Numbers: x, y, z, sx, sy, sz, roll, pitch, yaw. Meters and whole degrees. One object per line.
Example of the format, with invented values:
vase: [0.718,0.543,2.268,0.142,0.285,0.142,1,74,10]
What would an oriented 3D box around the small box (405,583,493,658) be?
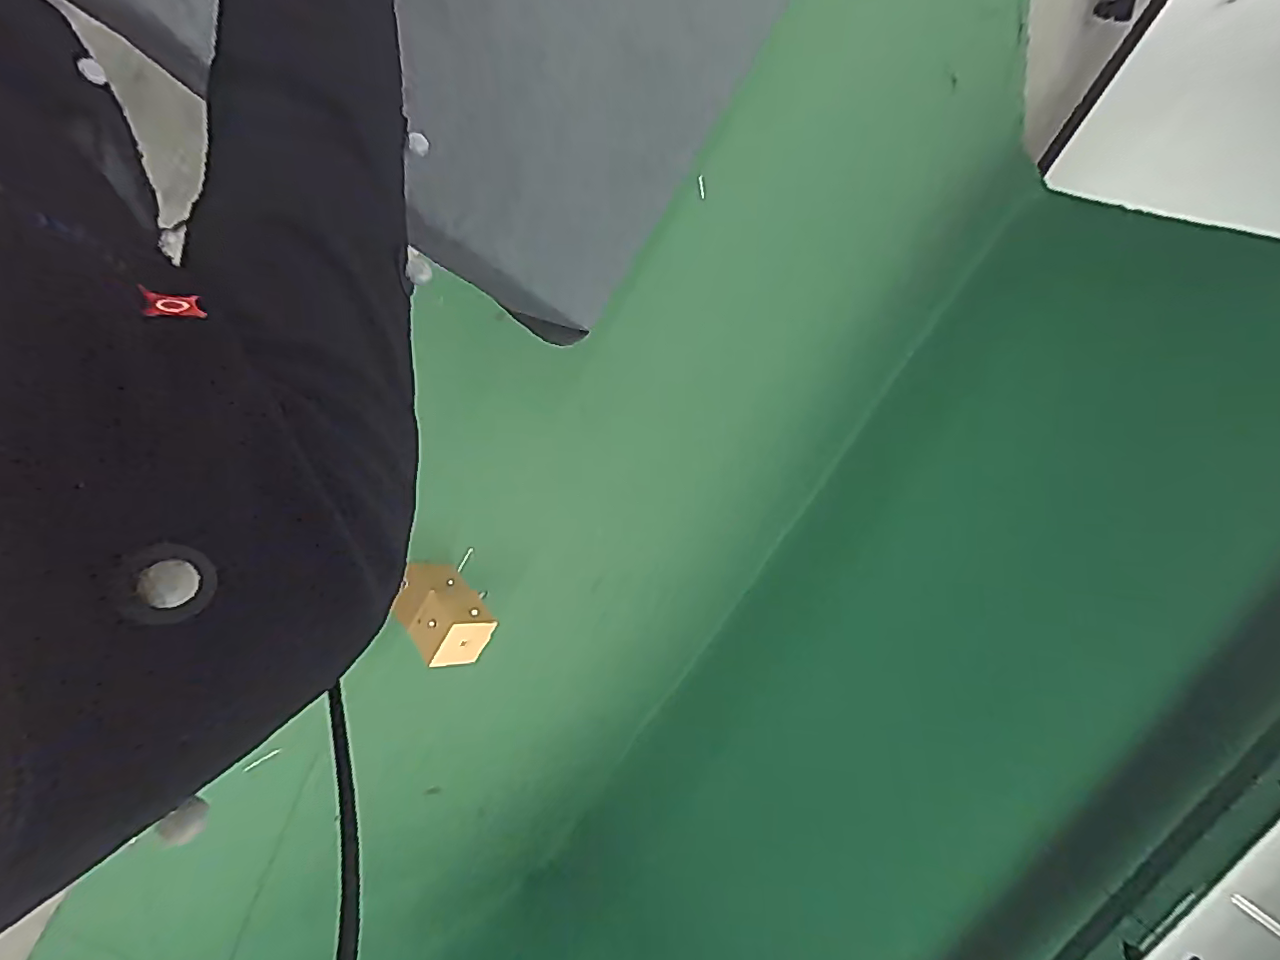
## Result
small box: [-0.615,0.443,1.725,0.179,0.176,0.168,18,107,-55]

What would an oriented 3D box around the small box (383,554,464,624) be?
small box: [-0.723,0.367,1.821,0.179,0.176,0.168,20,105,-54]
